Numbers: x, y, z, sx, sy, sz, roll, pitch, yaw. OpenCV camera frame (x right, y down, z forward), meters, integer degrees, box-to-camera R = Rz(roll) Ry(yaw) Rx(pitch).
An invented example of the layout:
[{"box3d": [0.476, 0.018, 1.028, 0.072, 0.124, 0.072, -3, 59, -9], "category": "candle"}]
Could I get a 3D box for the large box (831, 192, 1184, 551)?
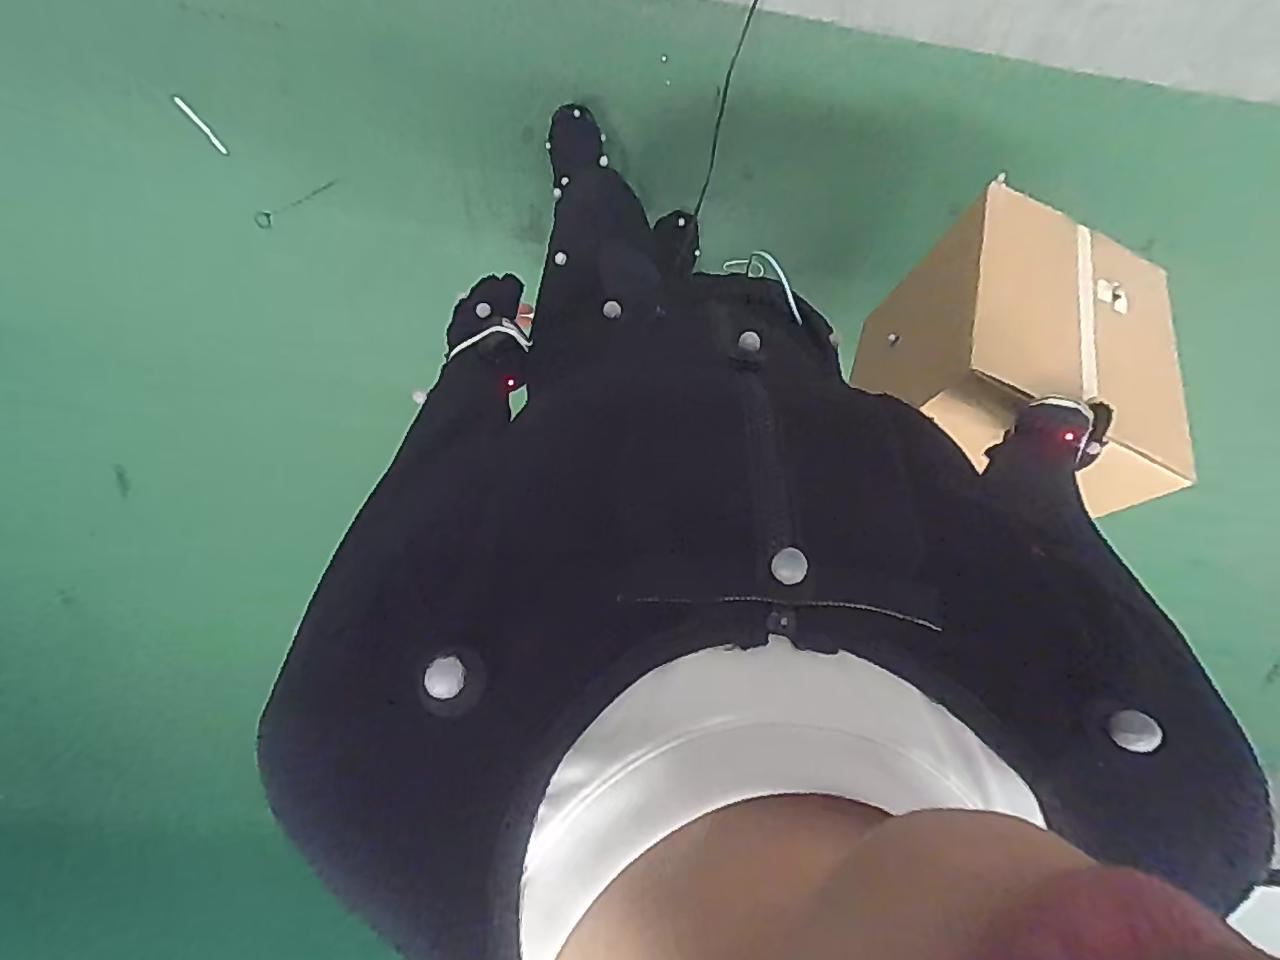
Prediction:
[{"box3d": [0.549, -0.156, 0.868, 0.320, 0.408, 0.320, 26, 151, -4], "category": "large box"}]
